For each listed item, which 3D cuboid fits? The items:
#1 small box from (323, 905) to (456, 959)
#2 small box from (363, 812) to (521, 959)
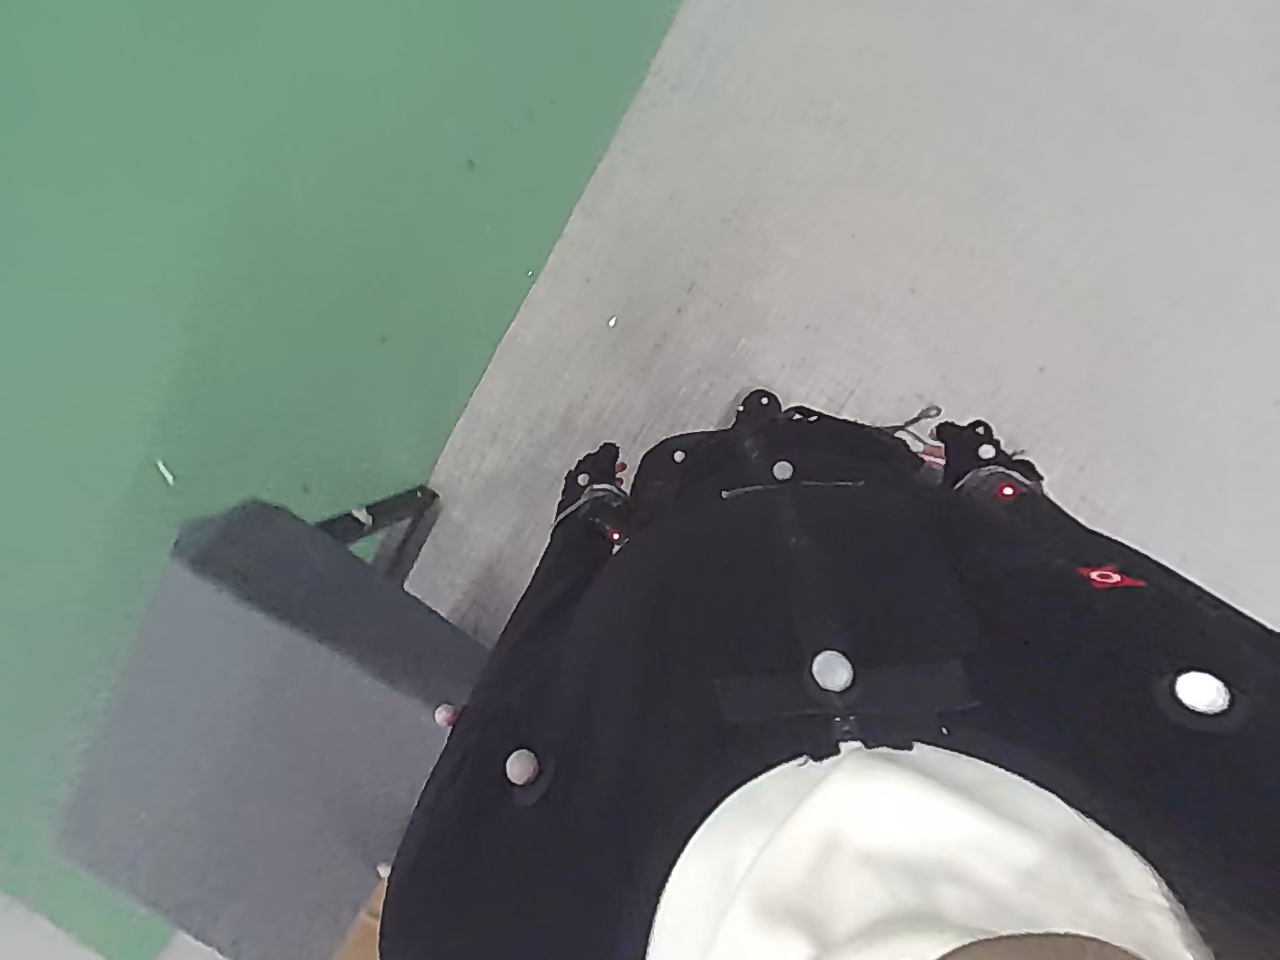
[{"bbox_3d":[-0.323,0.644,0.603,0.168,0.176,0.179,30,101,3],"label":"small box"},{"bbox_3d":[-0.296,0.619,0.760,0.179,0.176,0.168,32,102,2],"label":"small box"}]
